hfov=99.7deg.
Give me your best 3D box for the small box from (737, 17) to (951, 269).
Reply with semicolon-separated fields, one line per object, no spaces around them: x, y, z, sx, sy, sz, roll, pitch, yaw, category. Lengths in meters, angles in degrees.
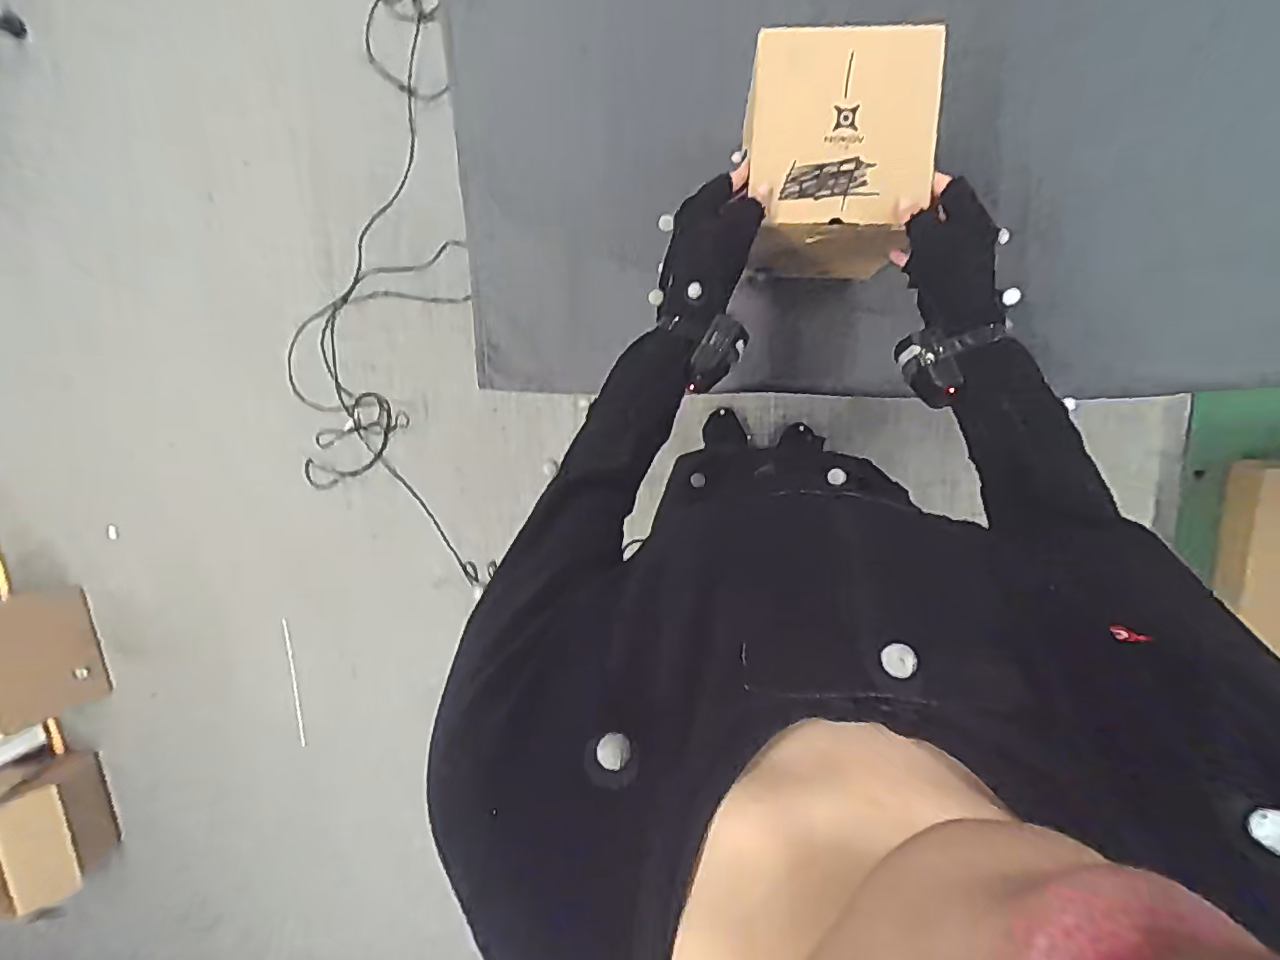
0.195;-0.333;0.569;0.168;0.176;0.179;4;96;5;small box
